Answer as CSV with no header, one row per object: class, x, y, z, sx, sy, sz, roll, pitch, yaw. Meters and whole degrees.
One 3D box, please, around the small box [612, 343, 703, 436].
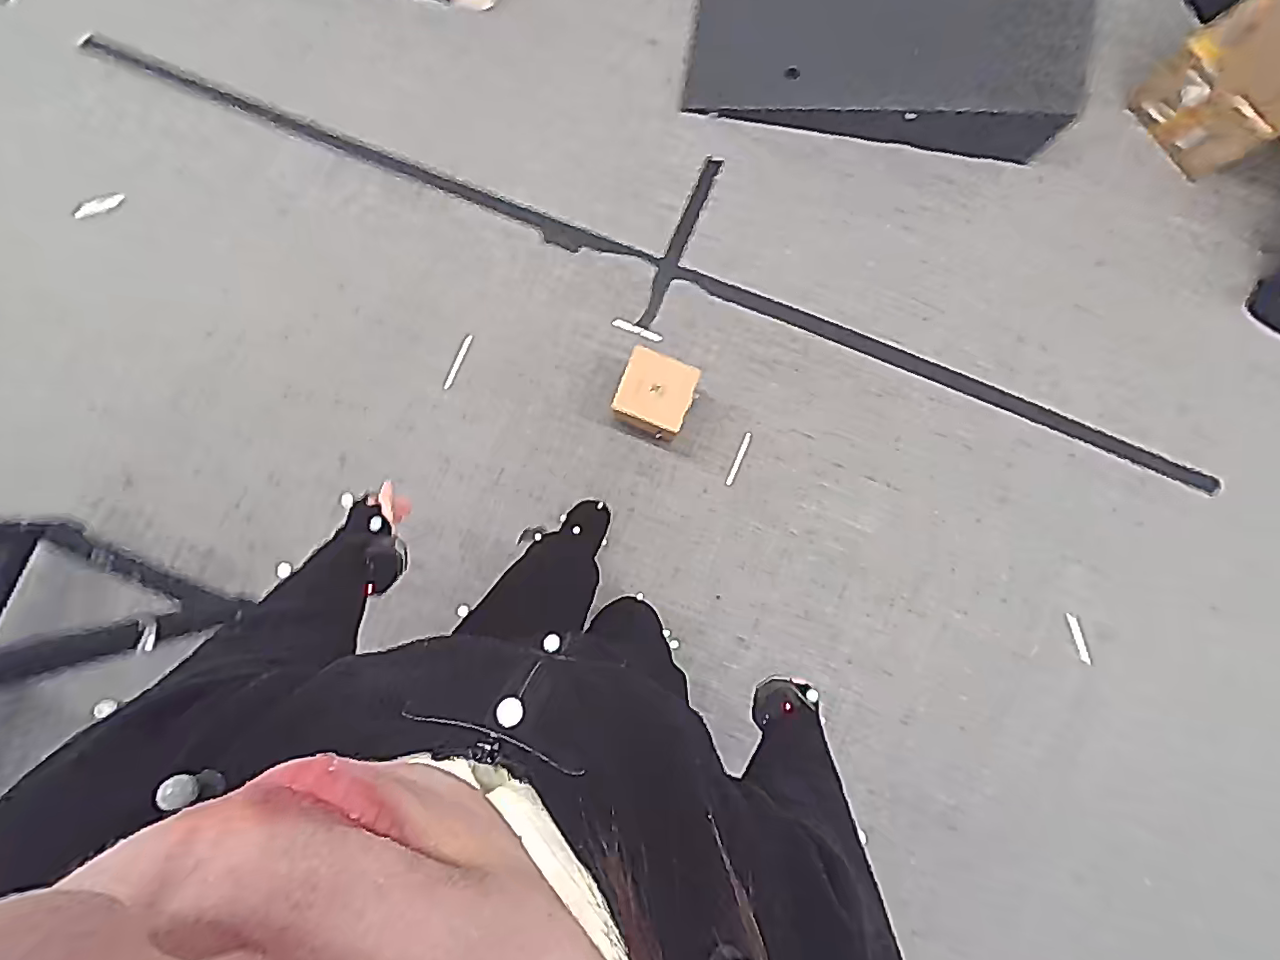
small box,0.042,-0.220,1.370,0.179,0.176,0.168,22,87,1
